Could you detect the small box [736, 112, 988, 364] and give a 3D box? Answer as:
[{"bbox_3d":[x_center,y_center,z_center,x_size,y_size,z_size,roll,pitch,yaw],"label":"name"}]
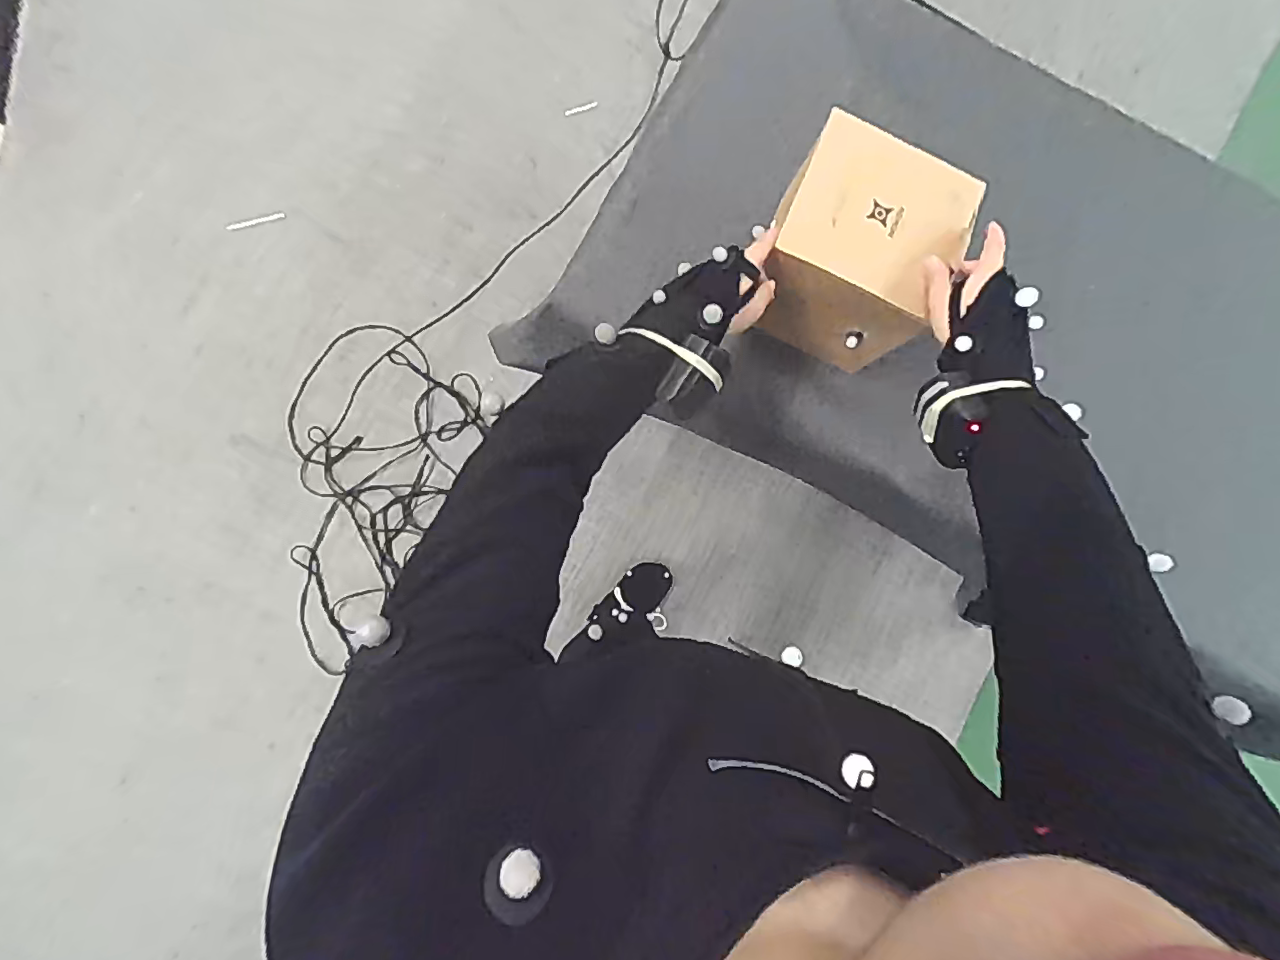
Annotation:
[{"bbox_3d":[0.232,-0.249,0.606,0.179,0.176,0.168,24,82,-2],"label":"small box"}]
